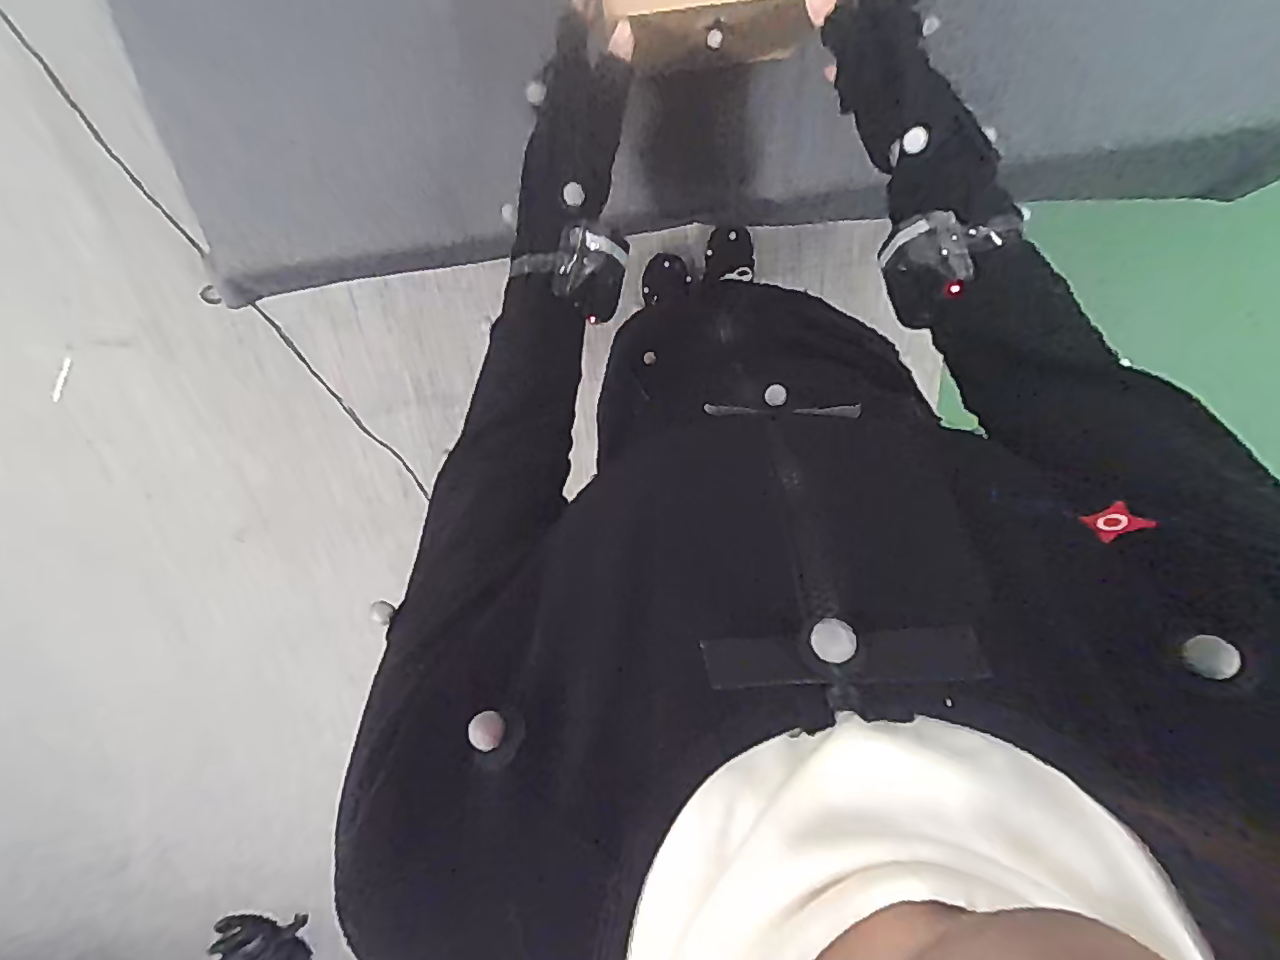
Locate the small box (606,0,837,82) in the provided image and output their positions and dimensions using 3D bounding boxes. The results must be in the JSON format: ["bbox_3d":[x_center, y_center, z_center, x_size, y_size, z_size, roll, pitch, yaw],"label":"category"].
[{"bbox_3d":[0.054,-0.439,0.425,0.179,0.176,0.168,-7,115,1],"label":"small box"}]
